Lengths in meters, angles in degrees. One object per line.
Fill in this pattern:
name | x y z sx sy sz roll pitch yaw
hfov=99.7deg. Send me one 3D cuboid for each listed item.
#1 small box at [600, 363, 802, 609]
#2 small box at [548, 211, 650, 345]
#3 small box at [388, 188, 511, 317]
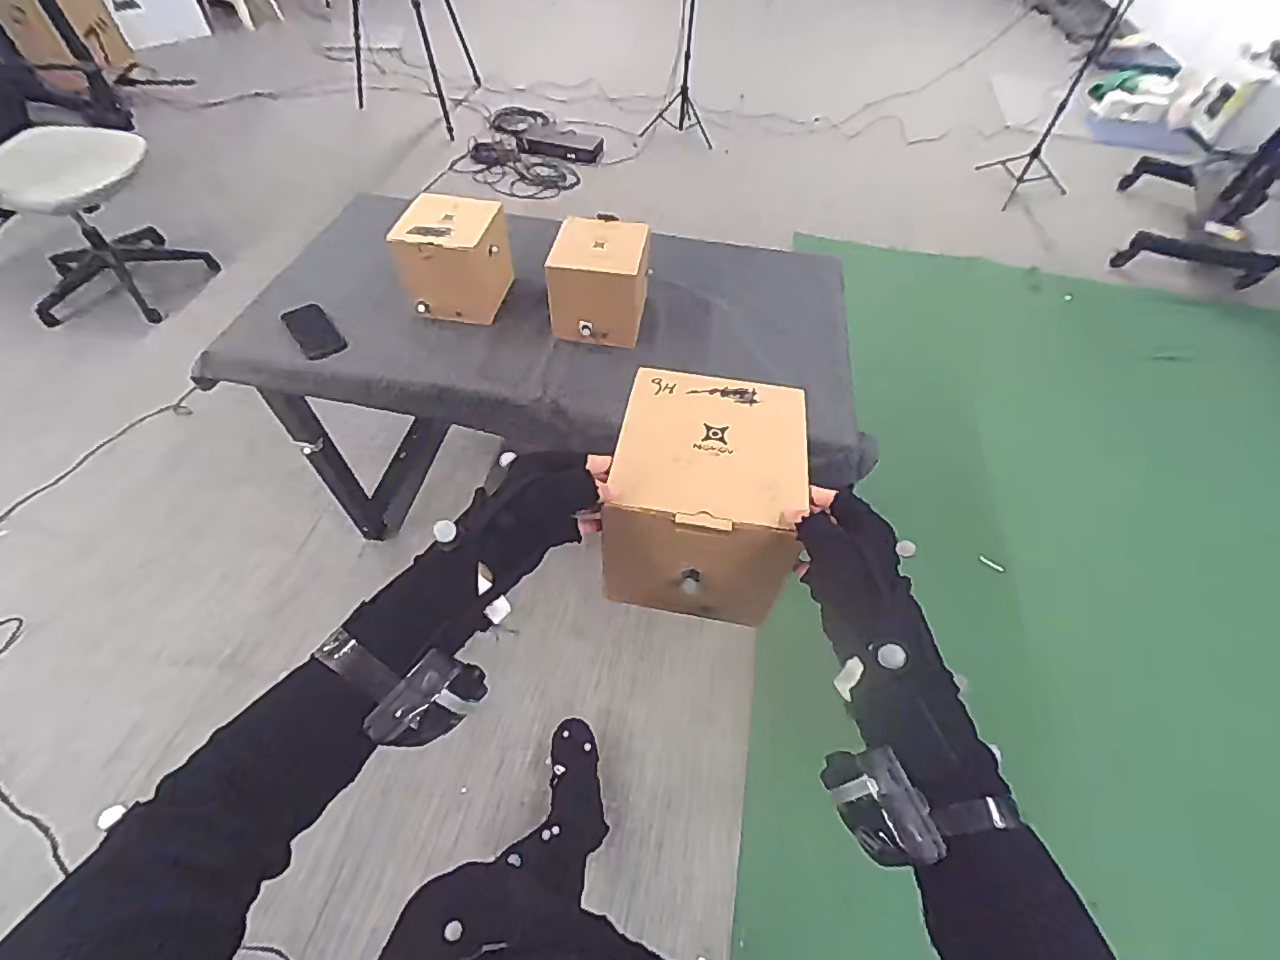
small box | 0.061 0.011 0.546 0.168 0.176 0.179 9 52 4
small box | -0.075 -0.393 1.058 0.168 0.176 0.179 7 55 3
small box | -0.365 -0.449 1.077 0.168 0.176 0.179 8 53 2
